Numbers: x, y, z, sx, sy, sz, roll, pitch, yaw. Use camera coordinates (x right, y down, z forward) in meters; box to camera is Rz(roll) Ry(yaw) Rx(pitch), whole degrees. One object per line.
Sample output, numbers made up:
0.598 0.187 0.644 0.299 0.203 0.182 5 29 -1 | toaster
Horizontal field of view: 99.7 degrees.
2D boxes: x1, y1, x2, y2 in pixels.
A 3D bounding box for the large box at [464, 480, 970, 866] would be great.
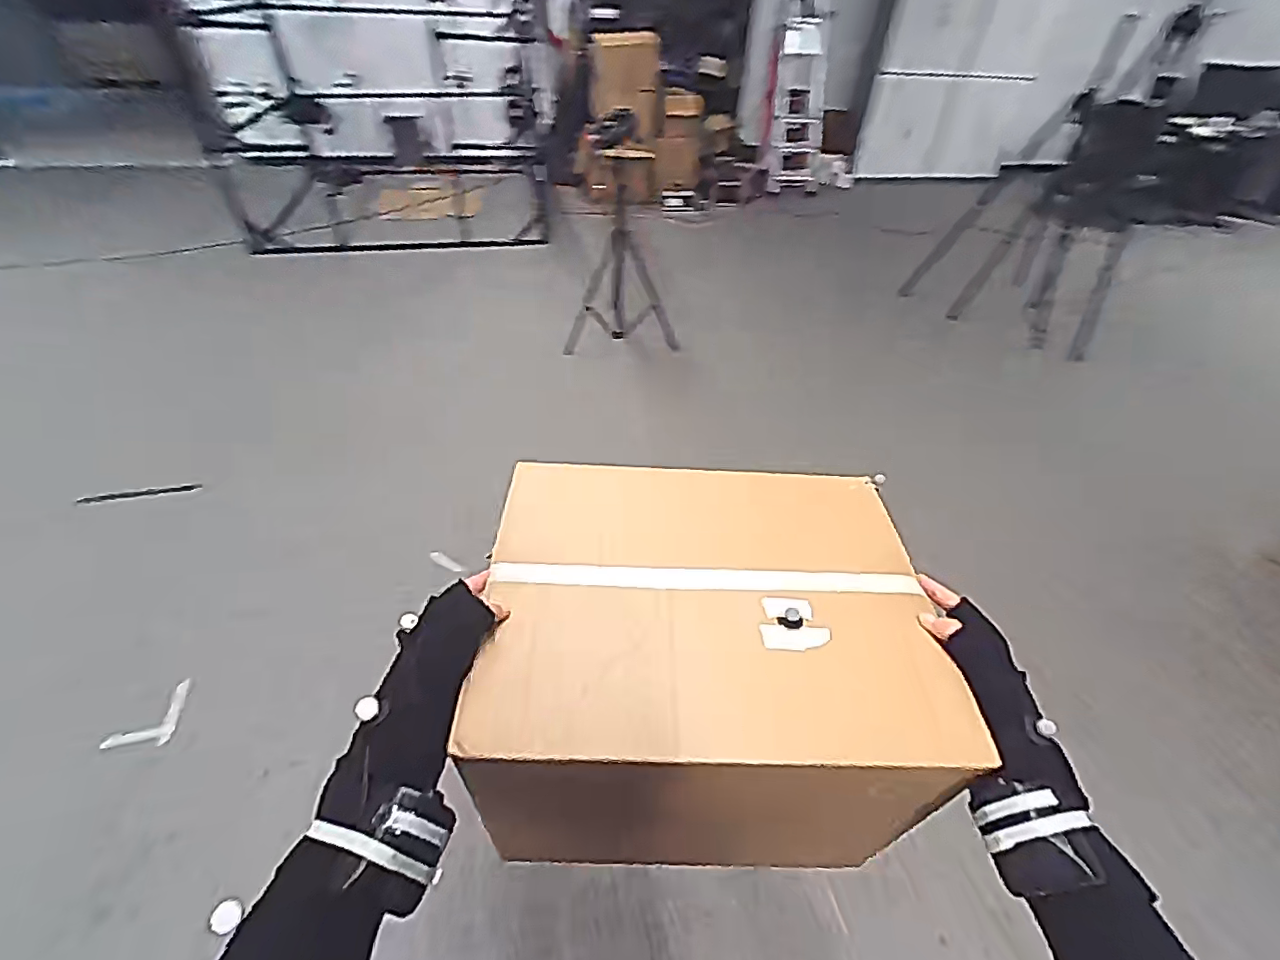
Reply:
0.049 0.216 0.619 0.408 0.320 0.320 2 43 -3 | large box
